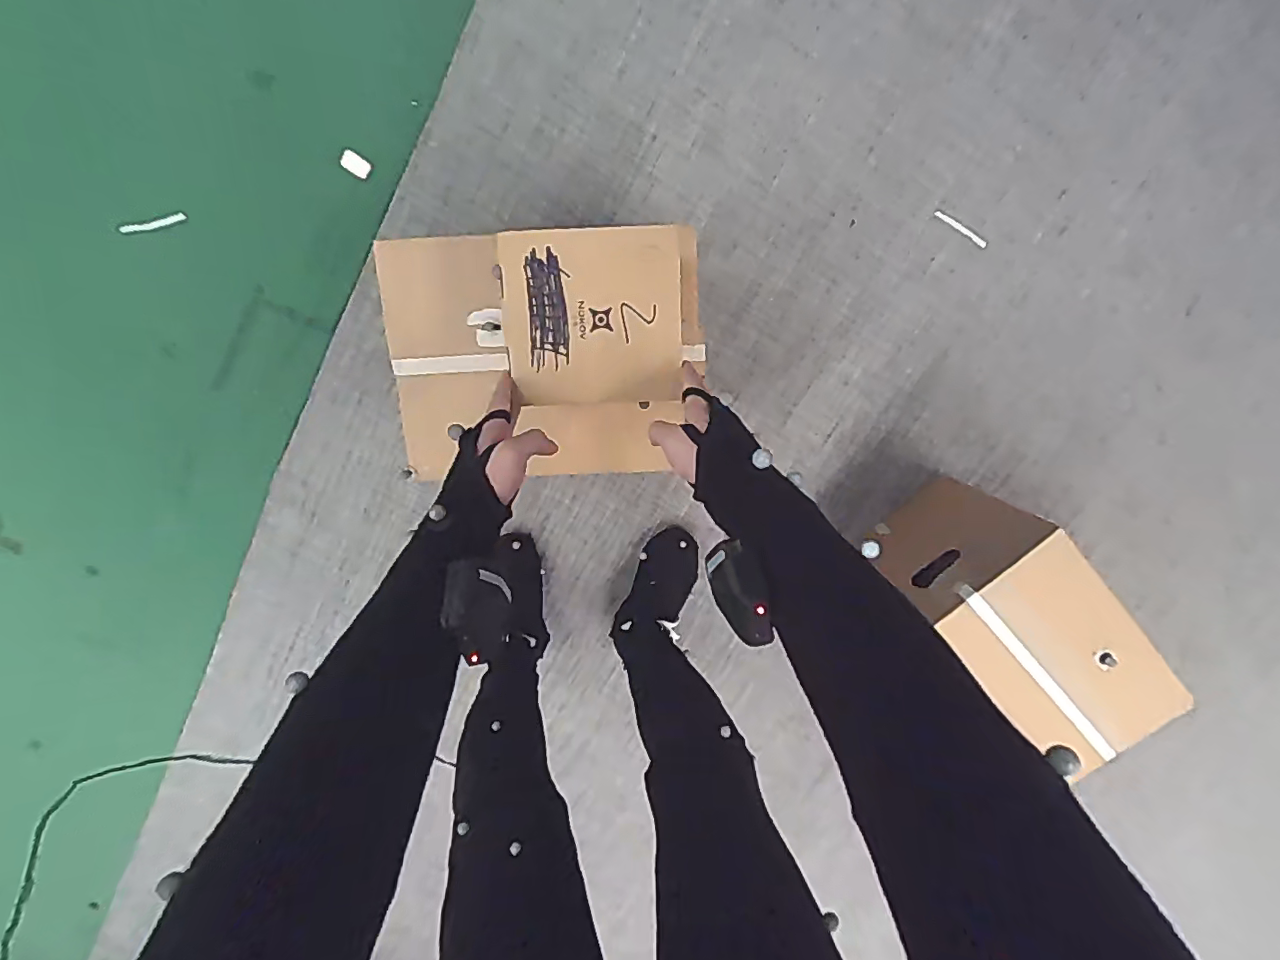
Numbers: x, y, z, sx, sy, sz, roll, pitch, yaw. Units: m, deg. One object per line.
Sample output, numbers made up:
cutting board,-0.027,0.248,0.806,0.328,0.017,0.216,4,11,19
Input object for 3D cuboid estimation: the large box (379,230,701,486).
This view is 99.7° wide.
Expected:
large box,-0.121,-0.189,0.854,0.408,0.320,0.320,-3,104,1
